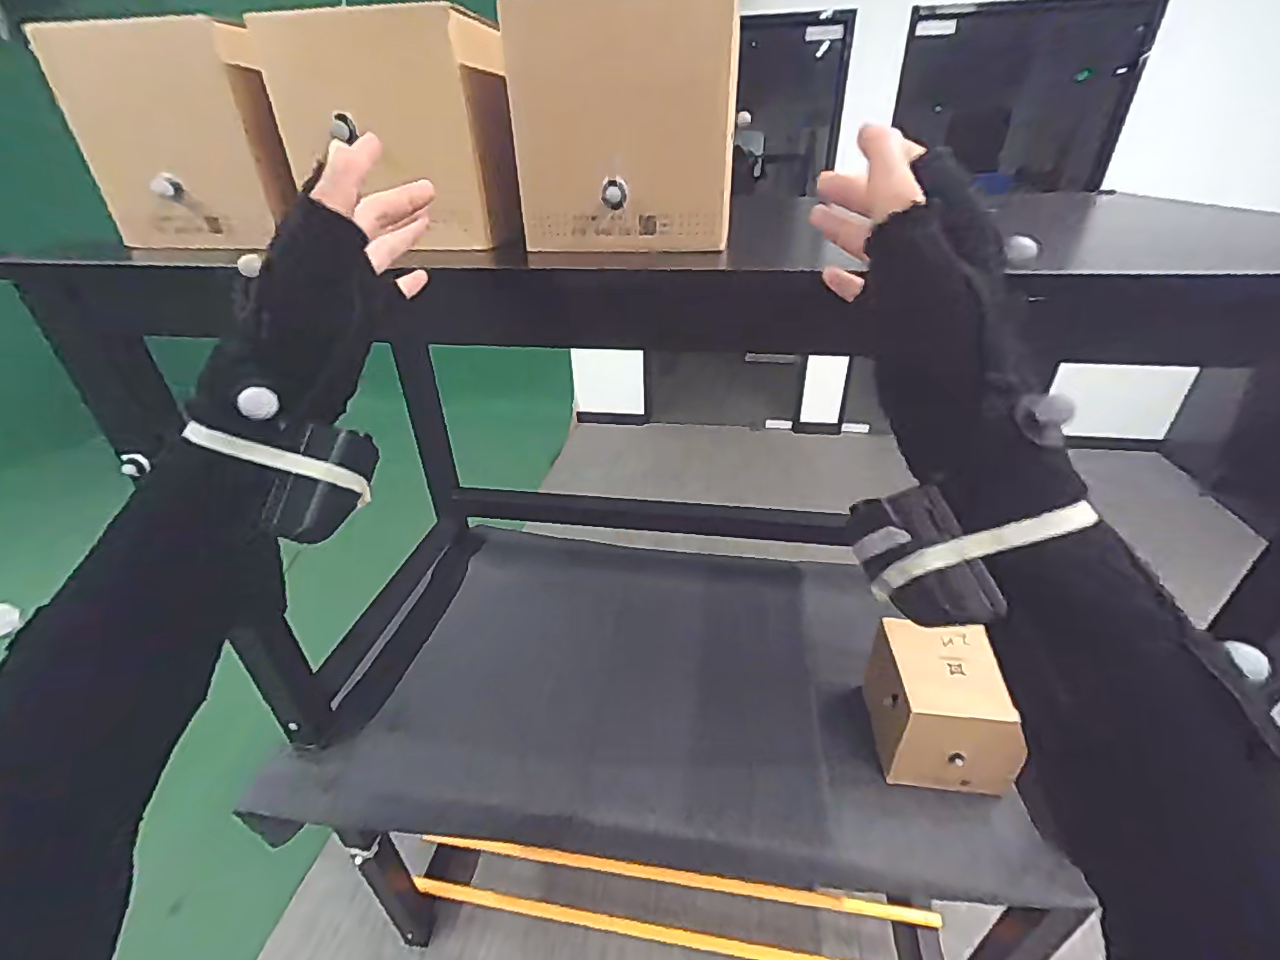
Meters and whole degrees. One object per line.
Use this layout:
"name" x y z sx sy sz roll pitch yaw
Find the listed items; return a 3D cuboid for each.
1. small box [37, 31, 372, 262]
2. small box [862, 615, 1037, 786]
"small box" -0.397 -0.324 0.539 0.168 0.176 0.179 3 33 8
"small box" 0.451 0.332 0.821 0.168 0.176 0.179 3 31 7
